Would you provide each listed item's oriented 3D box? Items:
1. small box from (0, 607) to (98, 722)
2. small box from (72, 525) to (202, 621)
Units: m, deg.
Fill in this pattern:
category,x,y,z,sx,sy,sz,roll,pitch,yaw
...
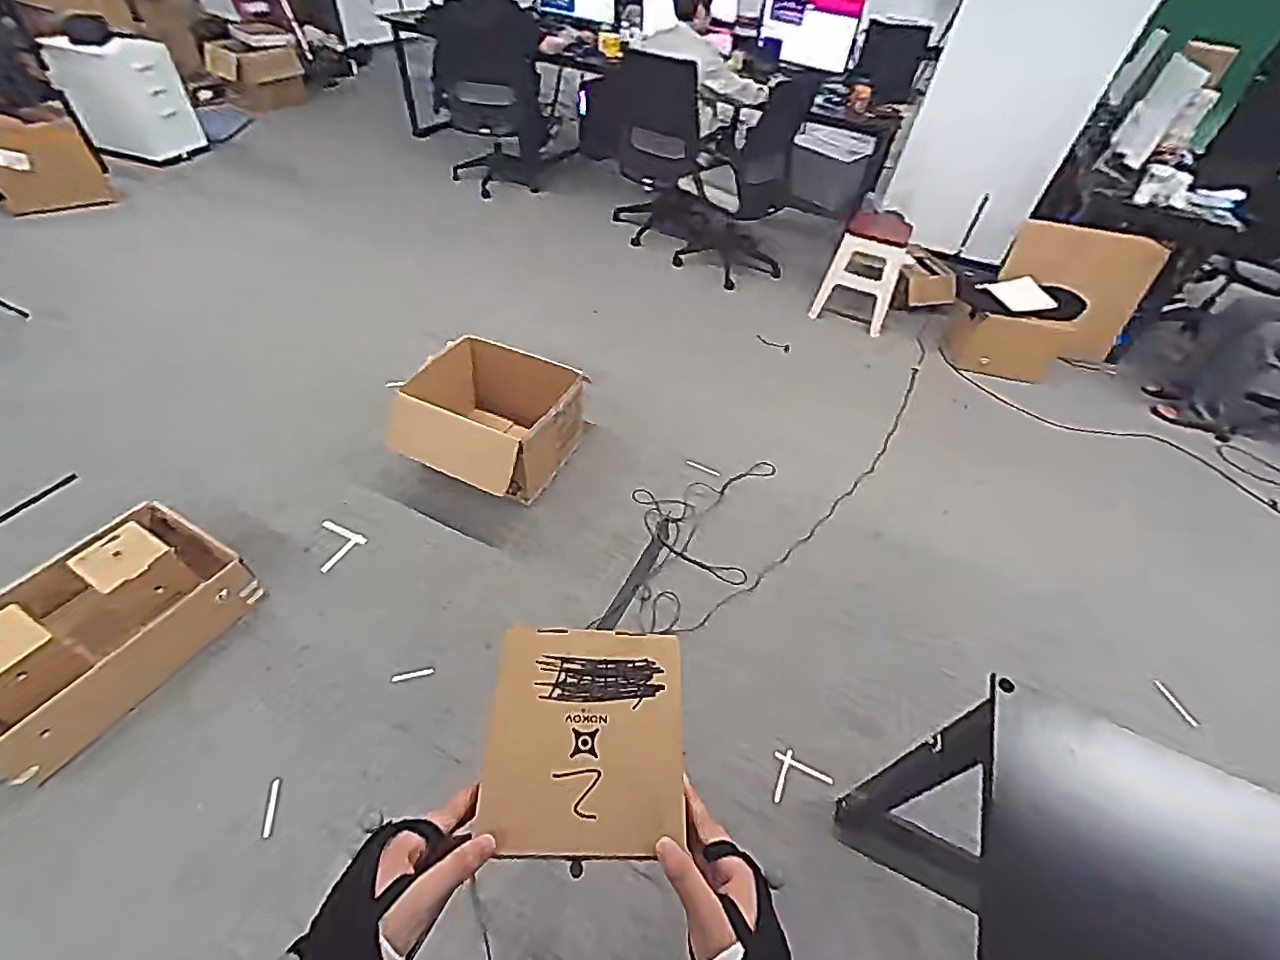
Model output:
category,x,y,z,sx,sy,sz,roll,pitch,yaw
small box,-1.495,0.448,1.304,0.168,0.176,0.179,25,48,13
small box,-1.371,0.262,1.489,0.179,0.176,0.168,27,51,16
